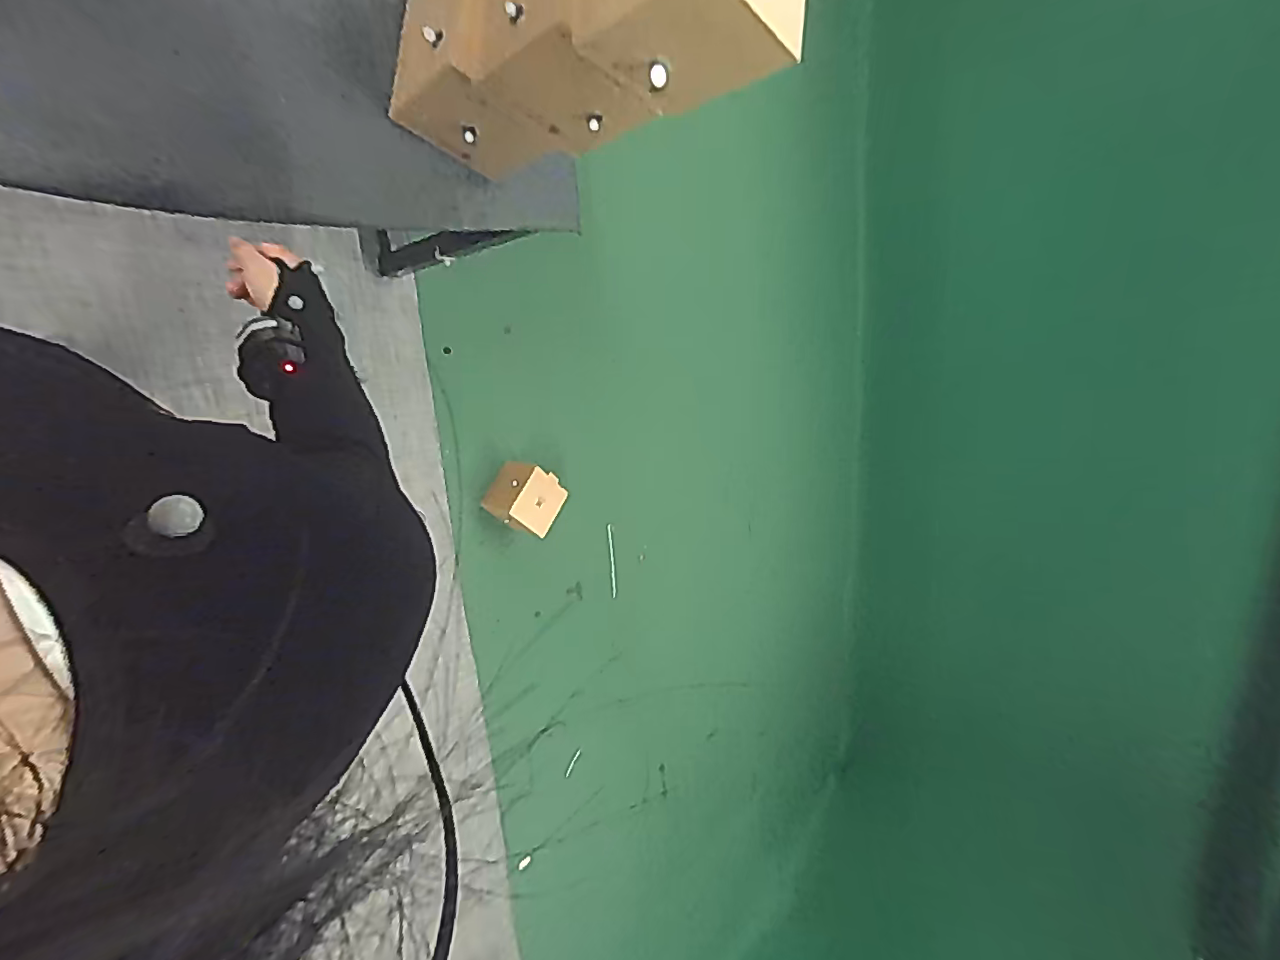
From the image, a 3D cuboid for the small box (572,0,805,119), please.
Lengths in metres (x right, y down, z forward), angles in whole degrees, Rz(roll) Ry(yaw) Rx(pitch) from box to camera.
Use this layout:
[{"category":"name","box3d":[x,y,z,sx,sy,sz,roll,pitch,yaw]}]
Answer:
[{"category":"small box","box3d":[0.048,-0.500,0.527,0.168,0.176,0.179,-6,100,-47]}]

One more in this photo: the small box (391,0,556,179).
[{"category":"small box","box3d":[-0.211,-0.543,0.723,0.168,0.176,0.179,11,86,-48]}]

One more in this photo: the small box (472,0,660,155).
[{"category":"small box","box3d":[-0.078,-0.521,0.630,0.168,0.176,0.179,4,91,-49]}]

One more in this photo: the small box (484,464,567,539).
[{"category":"small box","box3d":[-0.376,0.065,1.747,0.168,0.176,0.179,46,63,-41]}]
